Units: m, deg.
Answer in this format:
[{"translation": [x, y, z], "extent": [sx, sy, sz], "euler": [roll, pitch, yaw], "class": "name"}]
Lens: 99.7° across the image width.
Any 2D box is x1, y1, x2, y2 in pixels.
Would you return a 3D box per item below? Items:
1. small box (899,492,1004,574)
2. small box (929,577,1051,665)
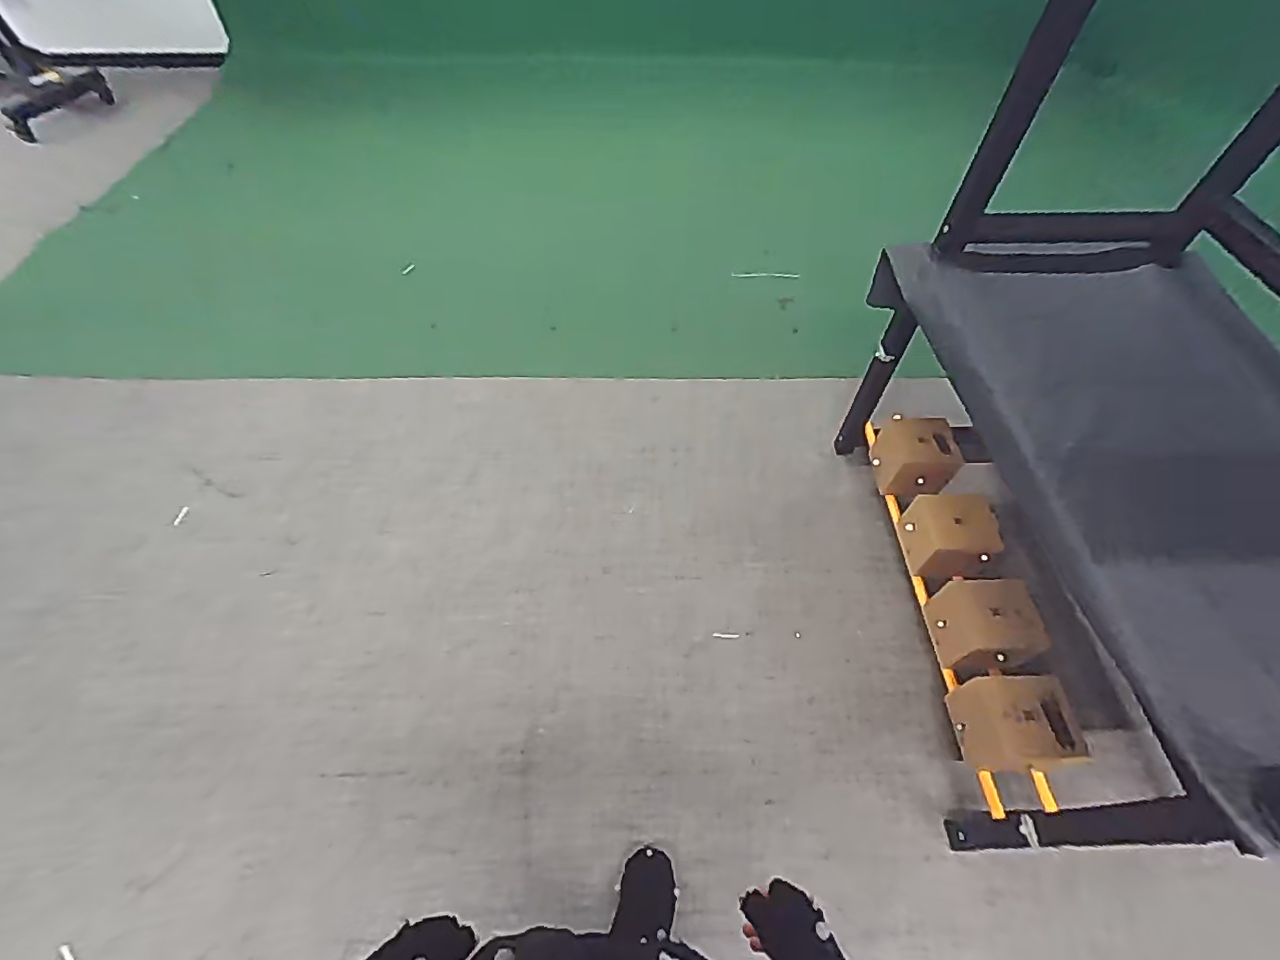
[{"translation": [0.823, 0.145, 1.455], "extent": [0.179, 0.176, 0.168], "euler": [0, 56, 1], "class": "small box"}, {"translation": [0.831, 0.346, 1.314], "extent": [0.179, 0.176, 0.168], "euler": [-1, 56, 0], "class": "small box"}]
